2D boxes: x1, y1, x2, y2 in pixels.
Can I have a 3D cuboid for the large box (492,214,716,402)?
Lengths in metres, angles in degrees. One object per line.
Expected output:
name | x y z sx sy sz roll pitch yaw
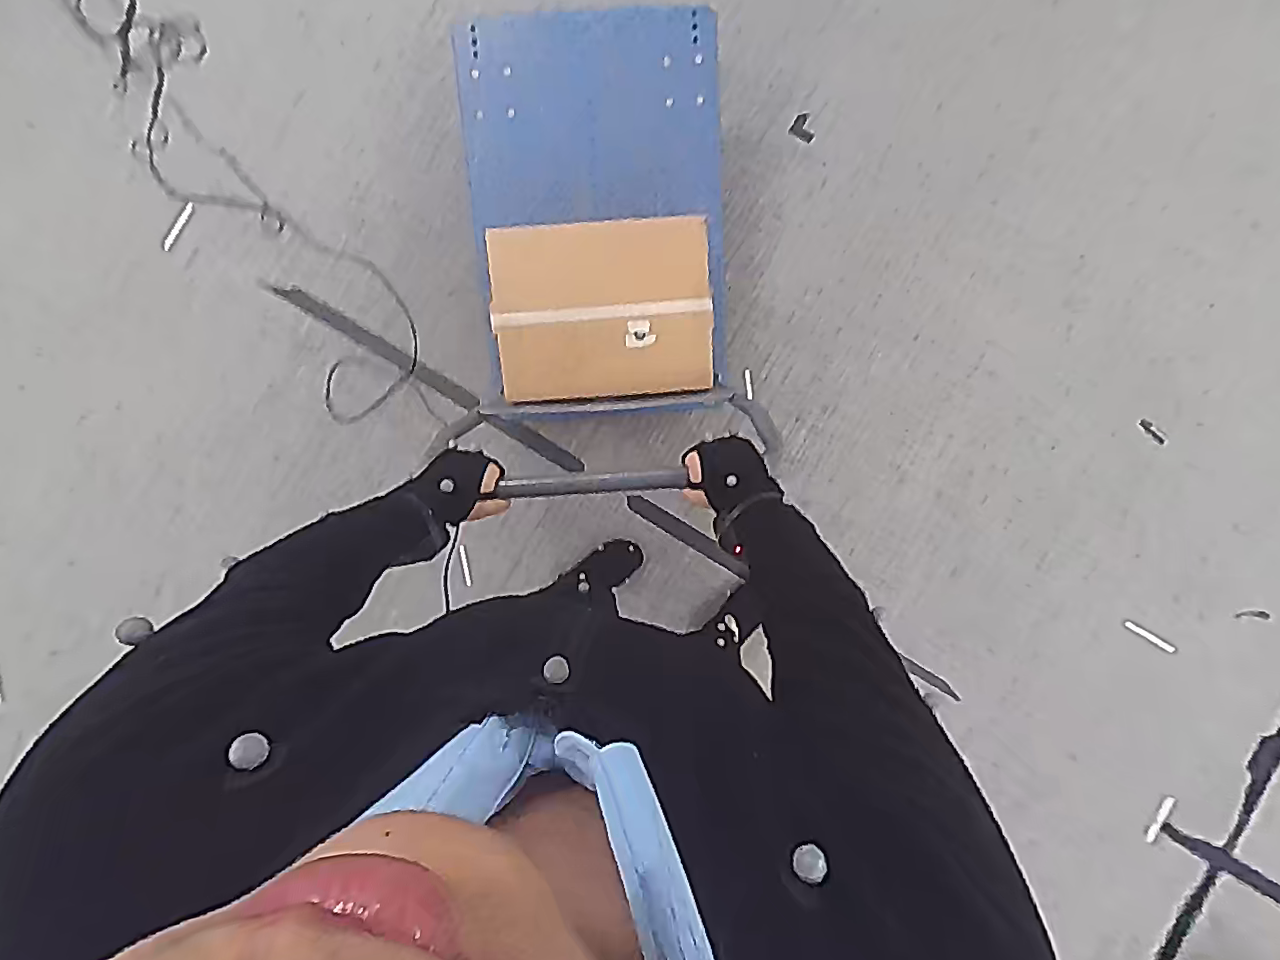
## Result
large box | -0.068 -0.352 1.169 0.408 0.320 0.320 -5 103 -1
